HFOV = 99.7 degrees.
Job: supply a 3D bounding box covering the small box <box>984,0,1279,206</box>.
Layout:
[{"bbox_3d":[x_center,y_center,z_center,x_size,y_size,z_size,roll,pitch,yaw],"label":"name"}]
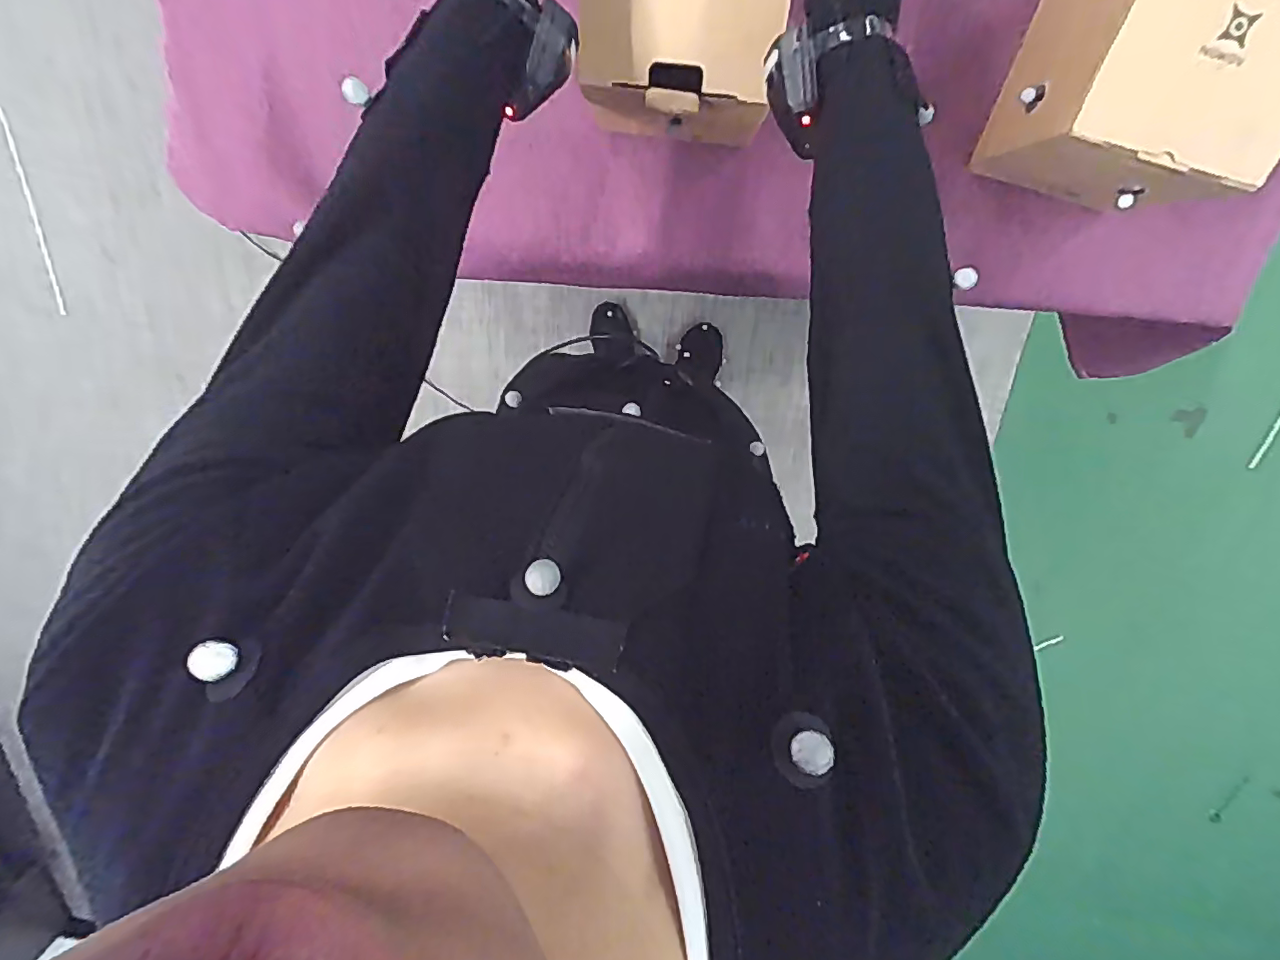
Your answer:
[{"bbox_3d":[0.445,-0.358,0.473,0.168,0.176,0.179,16,111,-2],"label":"small box"}]
